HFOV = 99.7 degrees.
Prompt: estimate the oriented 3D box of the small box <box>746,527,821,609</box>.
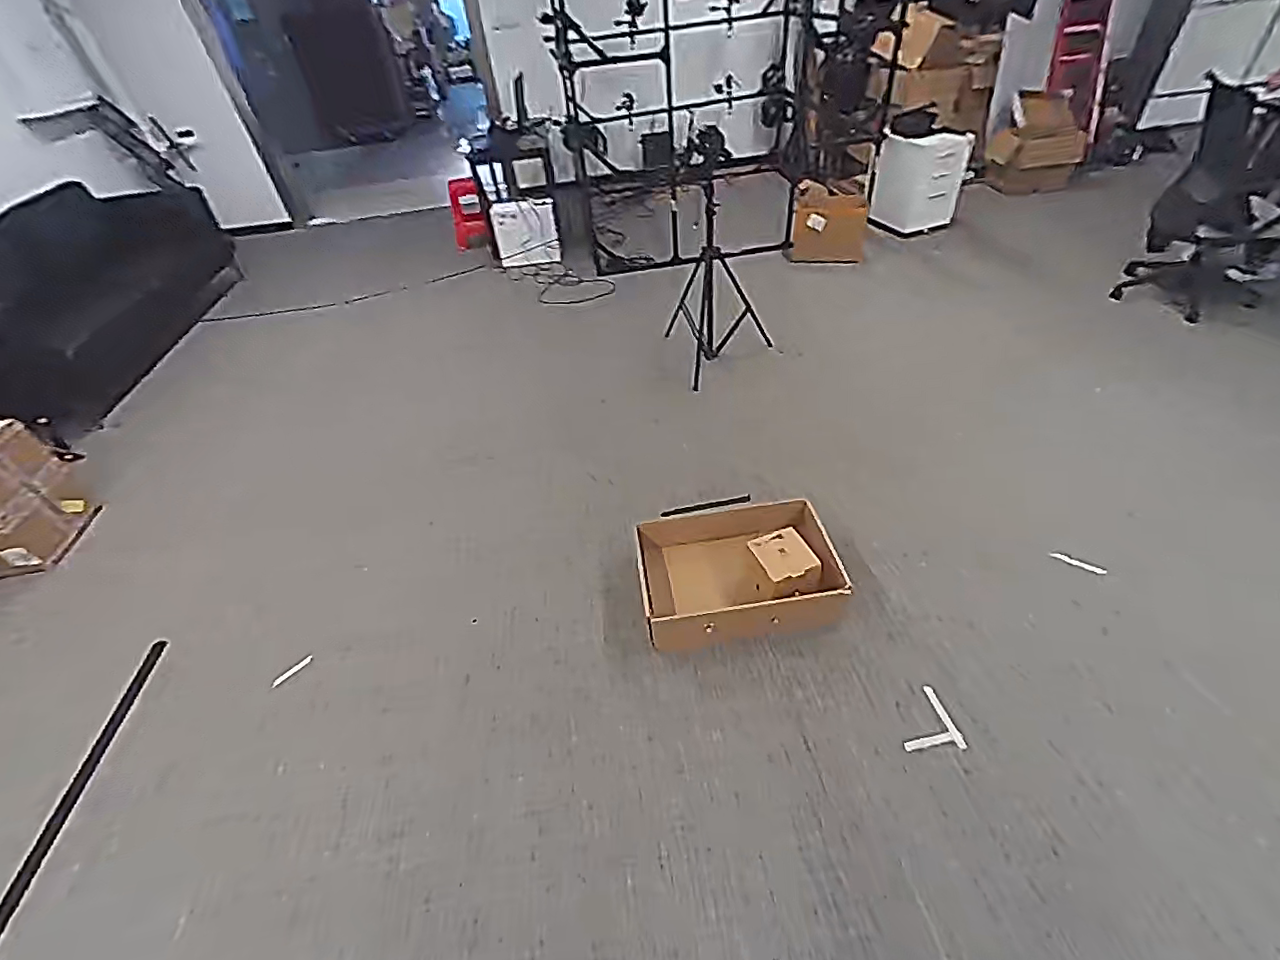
[{"bbox_3d":[0.449,0.286,1.714,0.168,0.176,0.179,-17,43,-11],"label":"small box"}]
